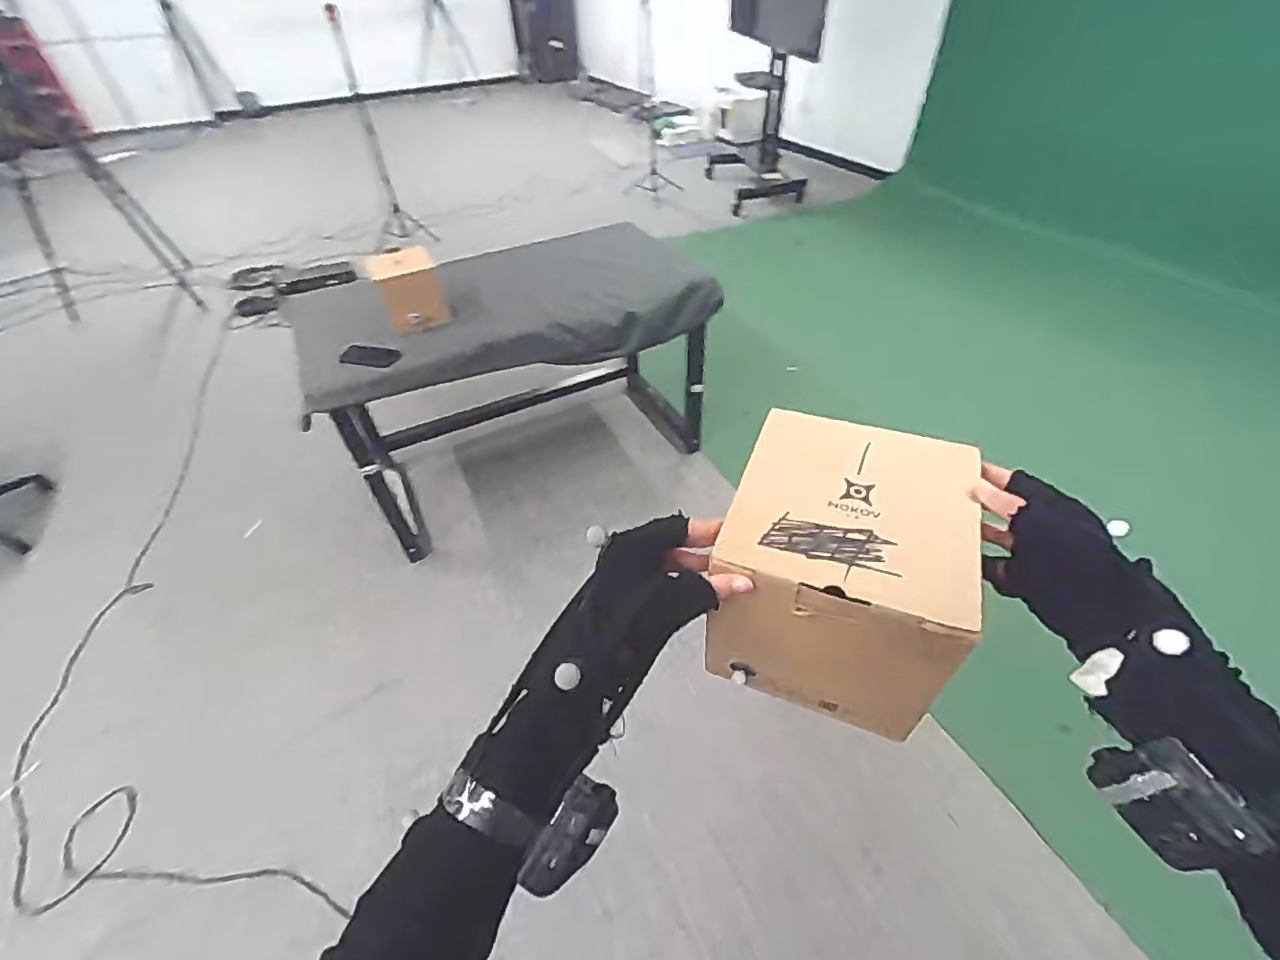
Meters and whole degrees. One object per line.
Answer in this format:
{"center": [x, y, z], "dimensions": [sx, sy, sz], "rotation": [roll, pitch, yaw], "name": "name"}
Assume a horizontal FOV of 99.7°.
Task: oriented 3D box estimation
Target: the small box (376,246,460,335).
{"center": [-0.632, -0.542, 1.548], "dimensions": [0.168, 0.176, 0.179], "rotation": [-22, 48, -17], "name": "small box"}

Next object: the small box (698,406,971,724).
{"center": [0.154, 0.068, 0.448], "dimensions": [0.168, 0.176, 0.179], "rotation": [14, 47, 19], "name": "small box"}
